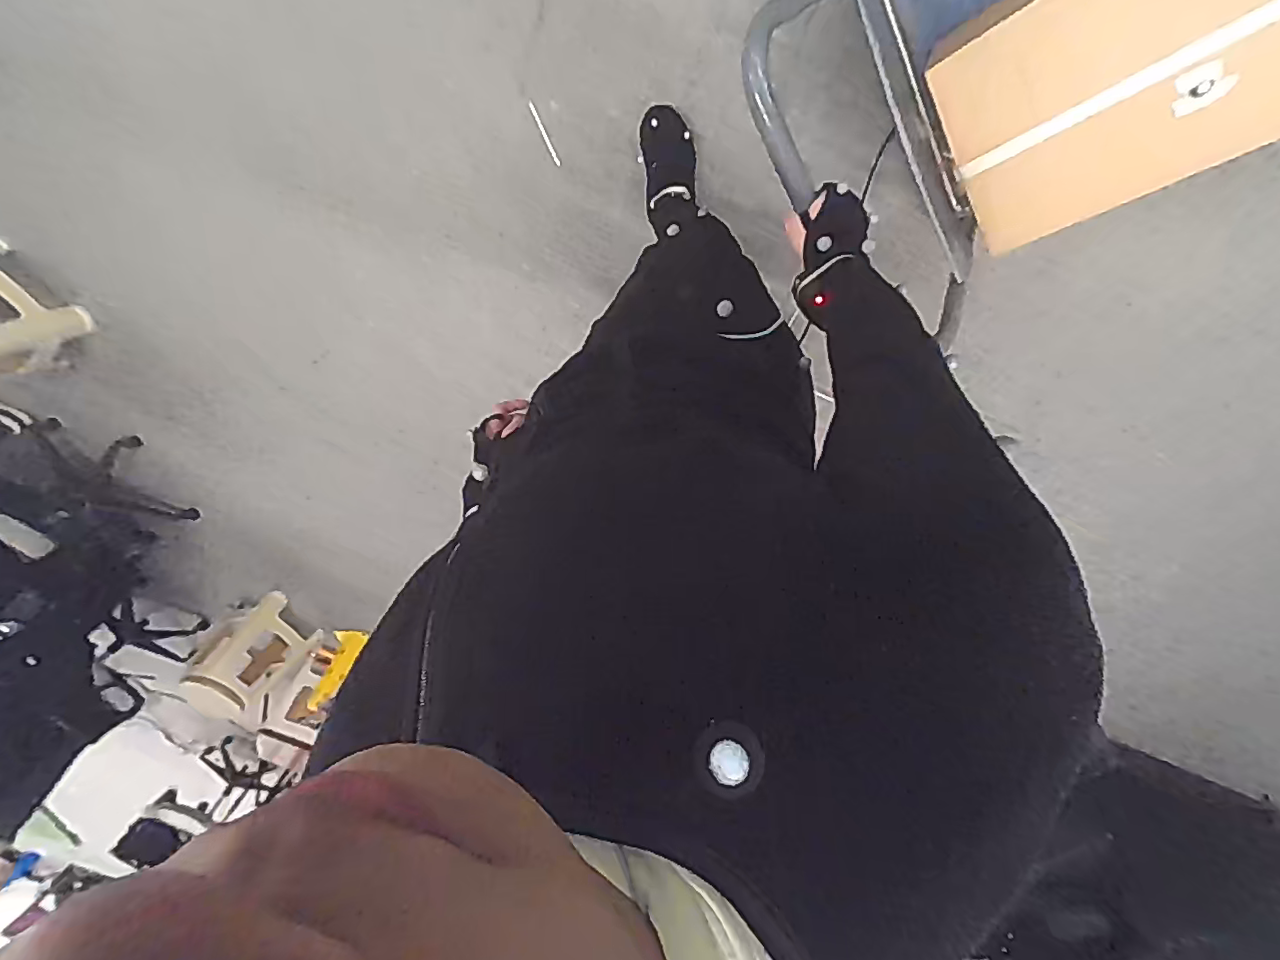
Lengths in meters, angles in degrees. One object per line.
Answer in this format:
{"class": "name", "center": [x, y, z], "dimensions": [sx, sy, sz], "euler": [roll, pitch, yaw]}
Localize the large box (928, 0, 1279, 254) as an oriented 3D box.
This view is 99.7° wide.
{"class": "large box", "center": [0.714, -0.631, 0.833], "dimensions": [0.408, 0.320, 0.320], "euler": [-15, 122, 40]}
